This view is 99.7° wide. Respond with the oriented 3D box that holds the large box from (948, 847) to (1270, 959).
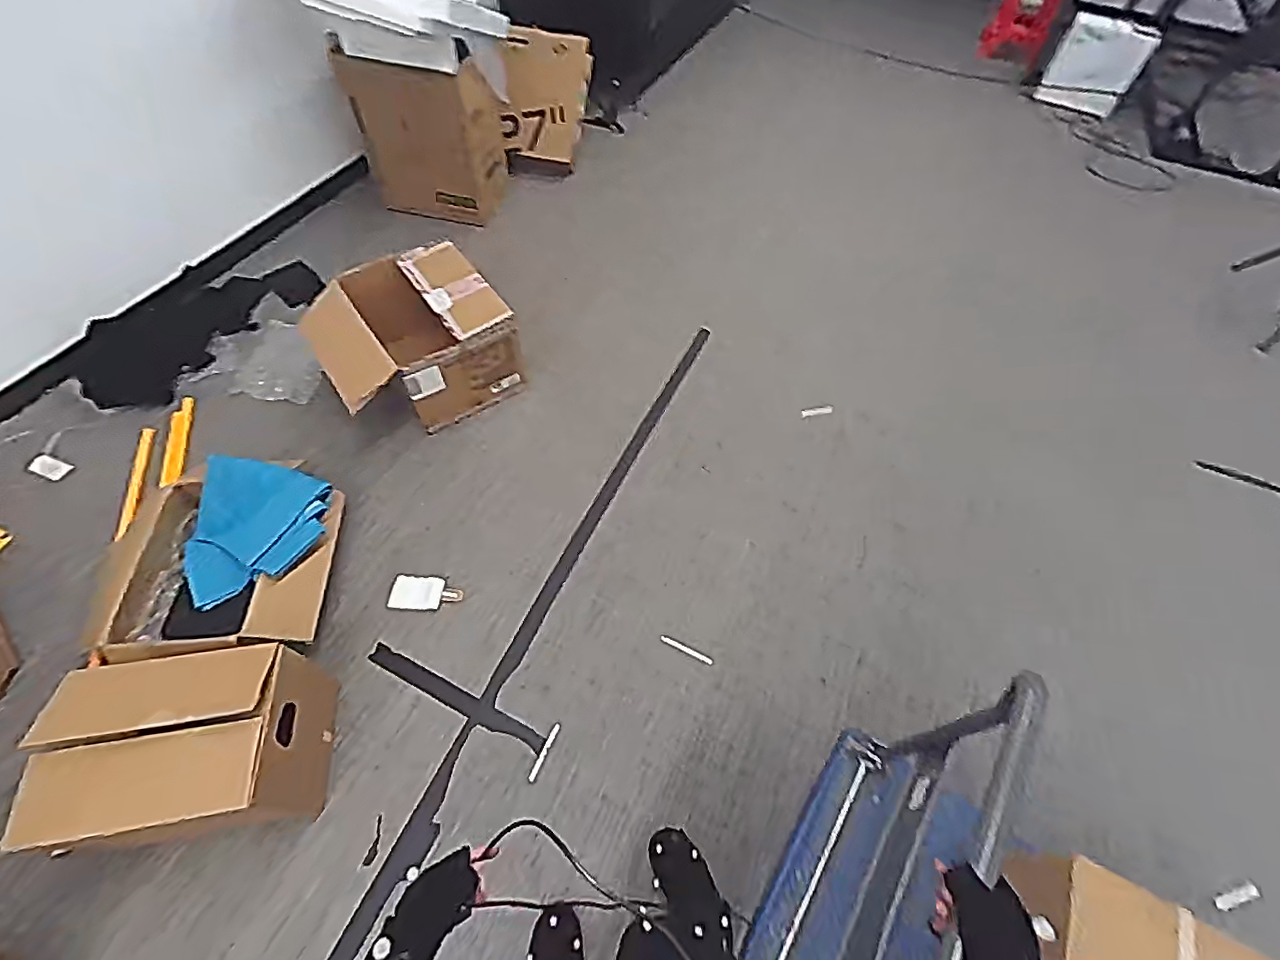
[{"bbox_3d":[0.717,0.879,0.857,0.320,0.320,0.408,26,60,14],"label":"large box"}]
